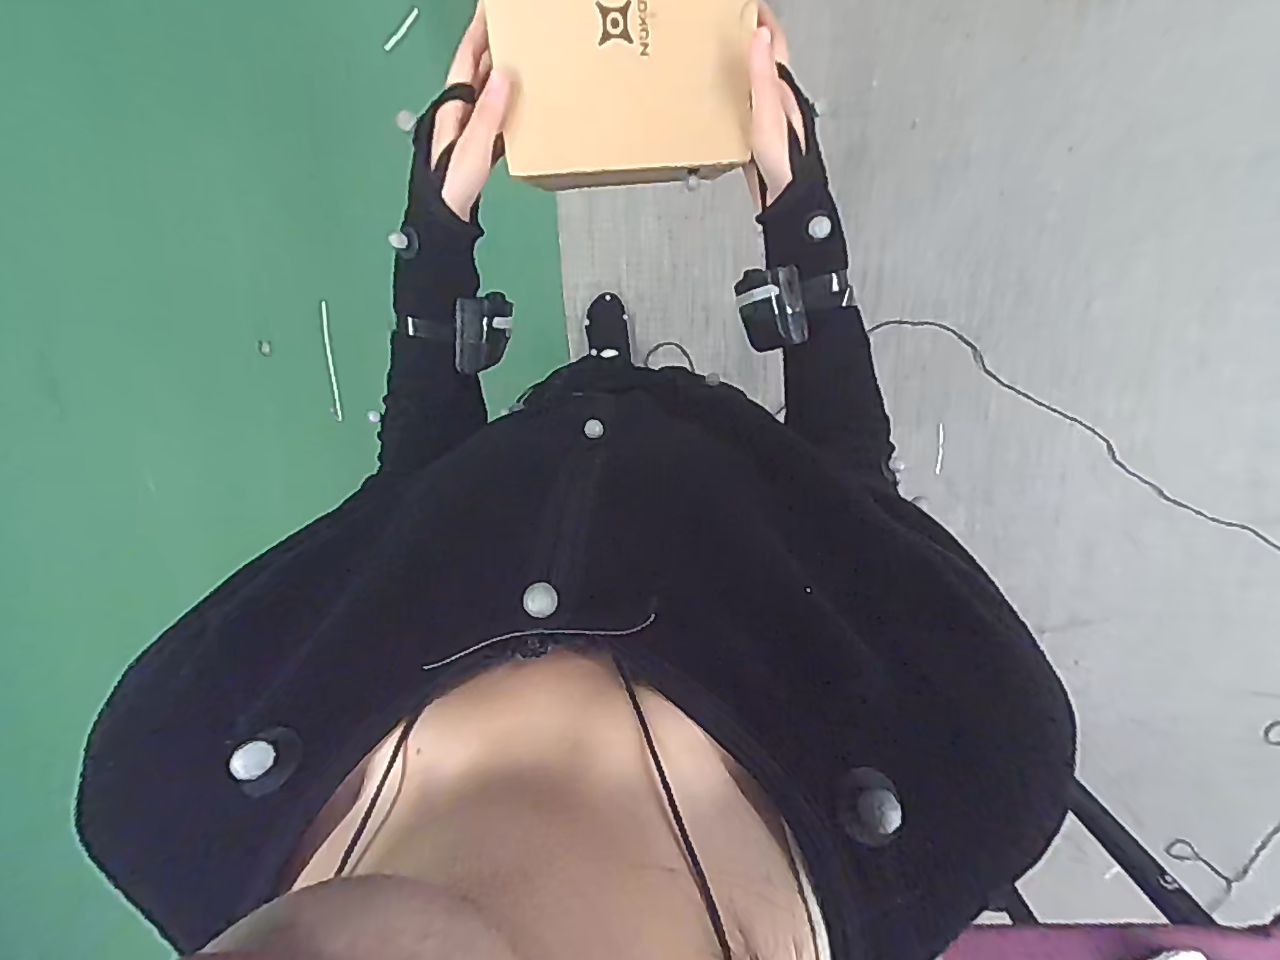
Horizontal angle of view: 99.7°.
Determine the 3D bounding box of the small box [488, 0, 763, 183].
[{"bbox_3d":[-0.013,-0.330,0.412,0.179,0.176,0.168,-5,115,-2],"label":"small box"}]
